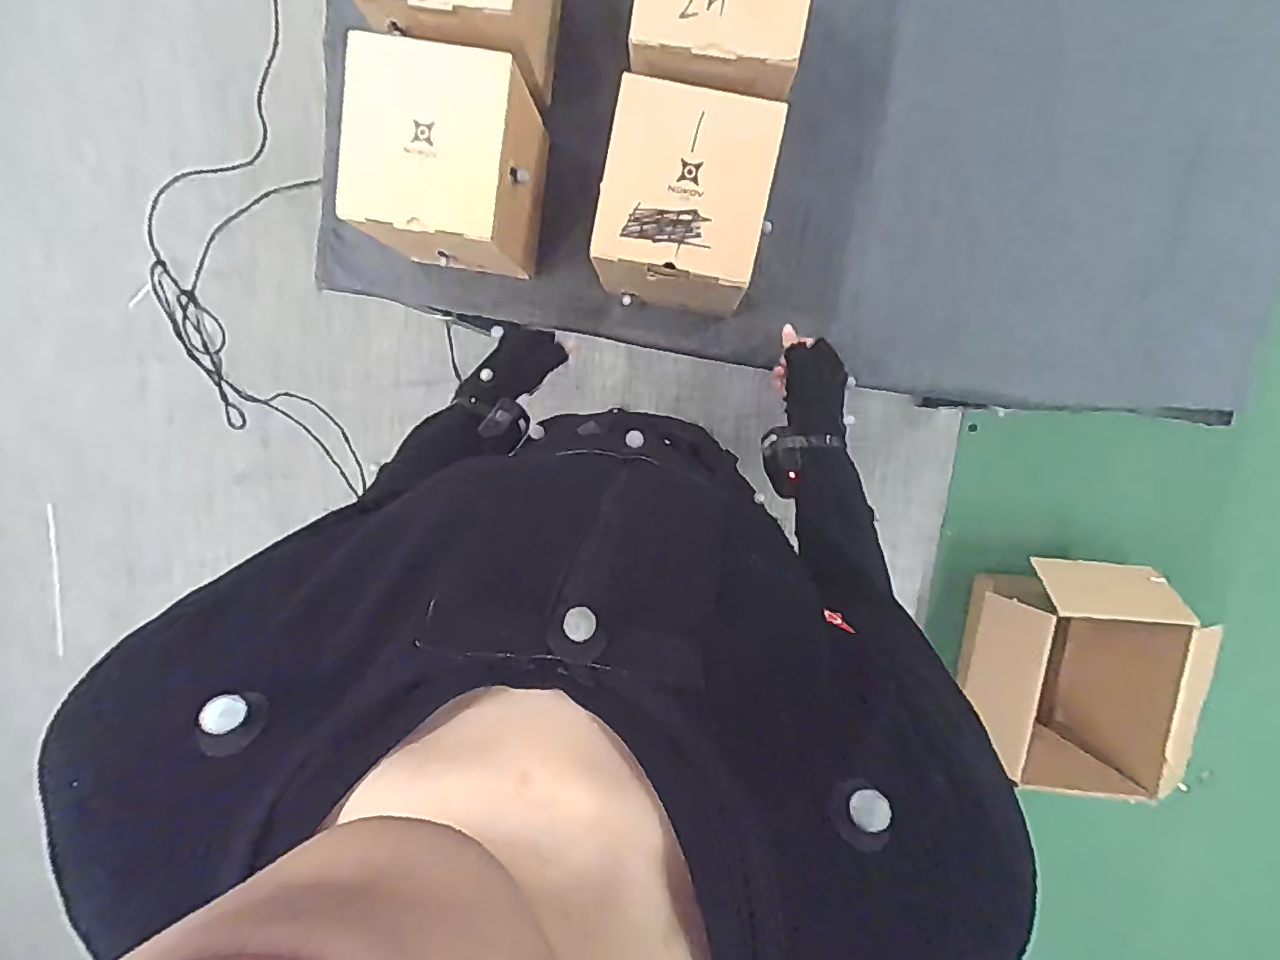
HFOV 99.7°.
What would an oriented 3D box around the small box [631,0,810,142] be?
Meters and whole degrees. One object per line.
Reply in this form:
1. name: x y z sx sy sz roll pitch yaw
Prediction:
1. small box: 0.088 -0.505 0.580 0.168 0.176 0.179 10 98 1
